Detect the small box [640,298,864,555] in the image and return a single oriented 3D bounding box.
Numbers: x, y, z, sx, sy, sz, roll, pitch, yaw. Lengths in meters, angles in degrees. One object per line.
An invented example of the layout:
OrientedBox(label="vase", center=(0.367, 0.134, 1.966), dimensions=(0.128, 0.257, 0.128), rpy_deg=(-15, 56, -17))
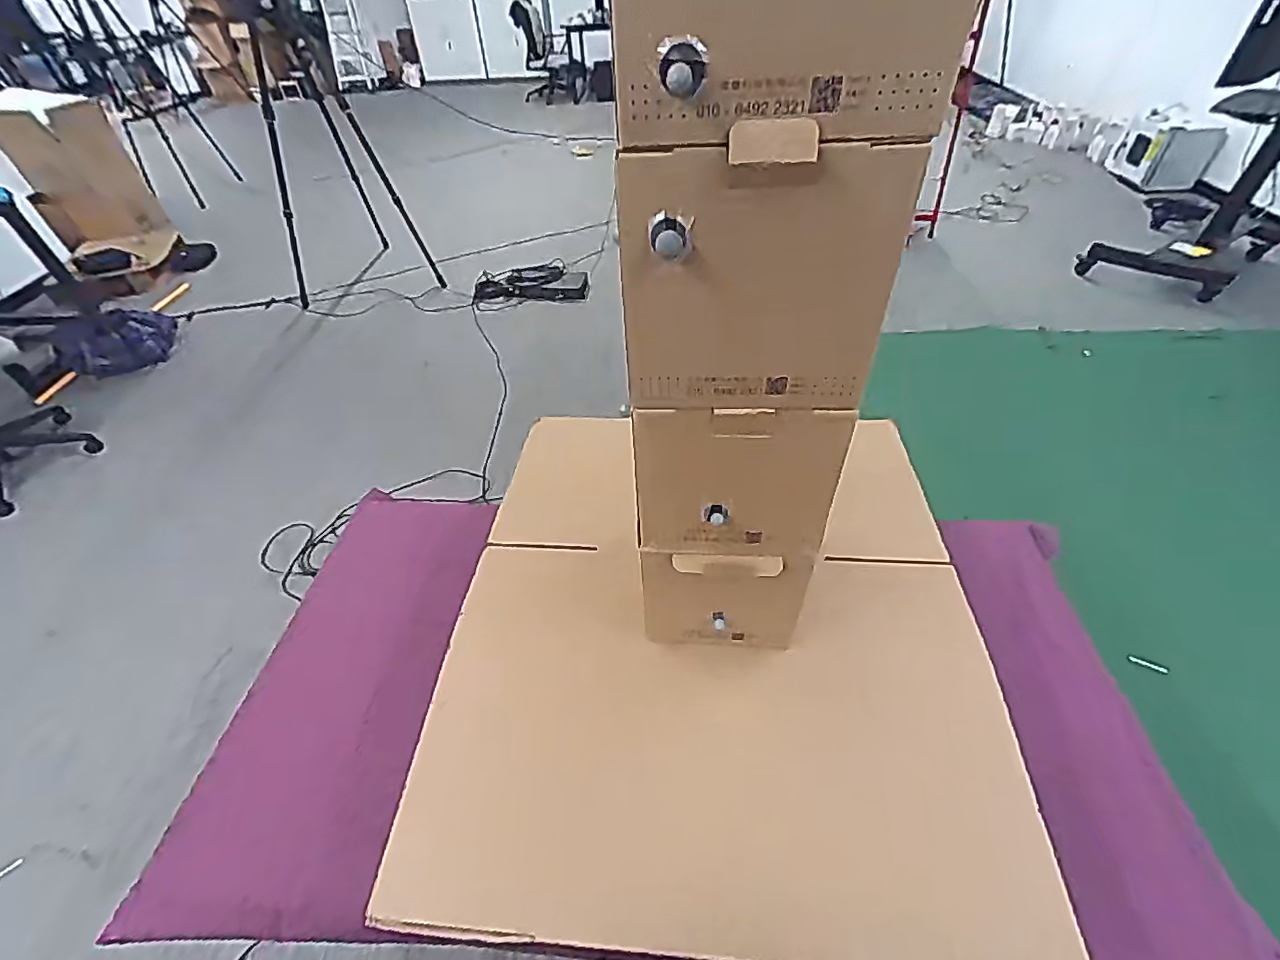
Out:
OrientedBox(label="small box", center=(0.088, -0.052, 0.508), dimensions=(0.168, 0.176, 0.179), rpy_deg=(1, 44, 4))

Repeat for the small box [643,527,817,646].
OrientedBox(label="small box", center=(0.093, 0.065, 0.621), dimensions=(0.168, 0.176, 0.179), rpy_deg=(2, 44, 5))

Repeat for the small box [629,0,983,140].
OrientedBox(label="small box", center=(0.076, -0.291, 0.282), dimensions=(0.168, 0.176, 0.179), rpy_deg=(-2, 45, 1))
